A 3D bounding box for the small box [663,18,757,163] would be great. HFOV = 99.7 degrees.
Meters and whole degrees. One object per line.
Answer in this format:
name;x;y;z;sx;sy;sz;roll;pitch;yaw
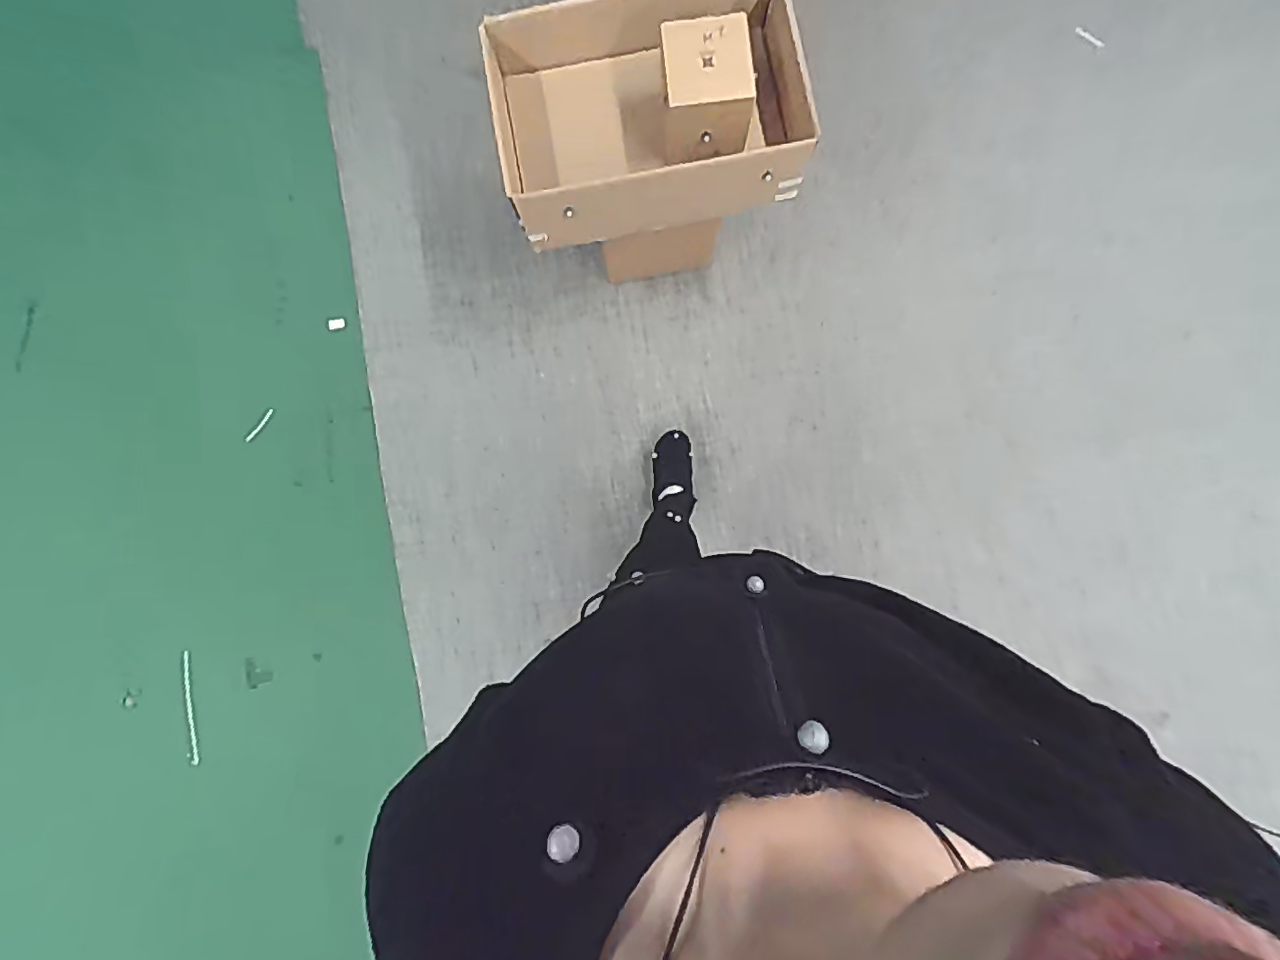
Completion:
small box;0.137;-0.774;1.095;0.168;0.176;0.179;-5;84;2
